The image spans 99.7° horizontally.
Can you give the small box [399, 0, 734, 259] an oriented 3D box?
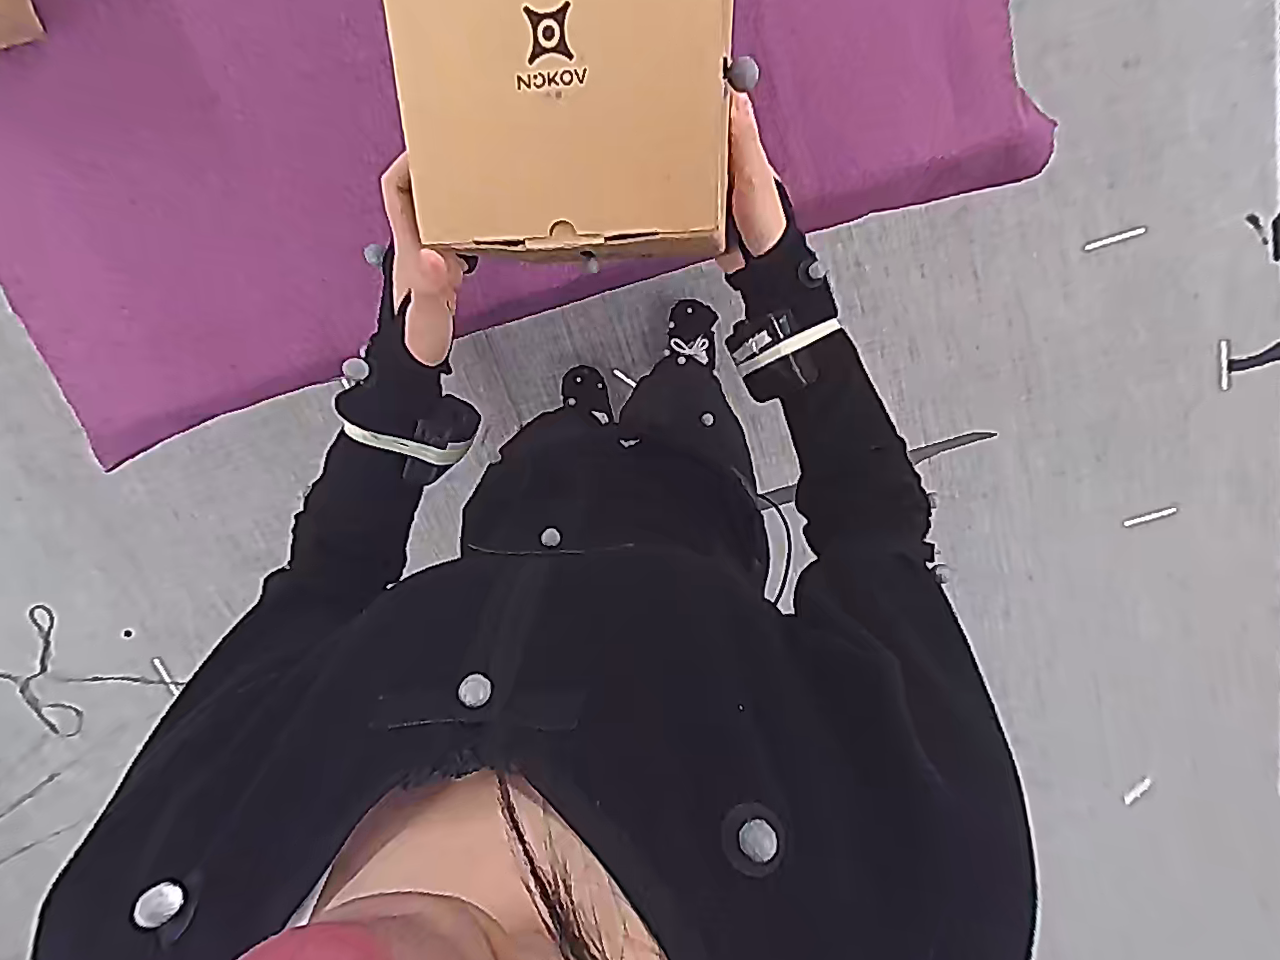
[{"bbox_3d":[-0.026,-0.239,0.339,0.168,0.176,0.179,1,111,9],"label":"small box"}]
